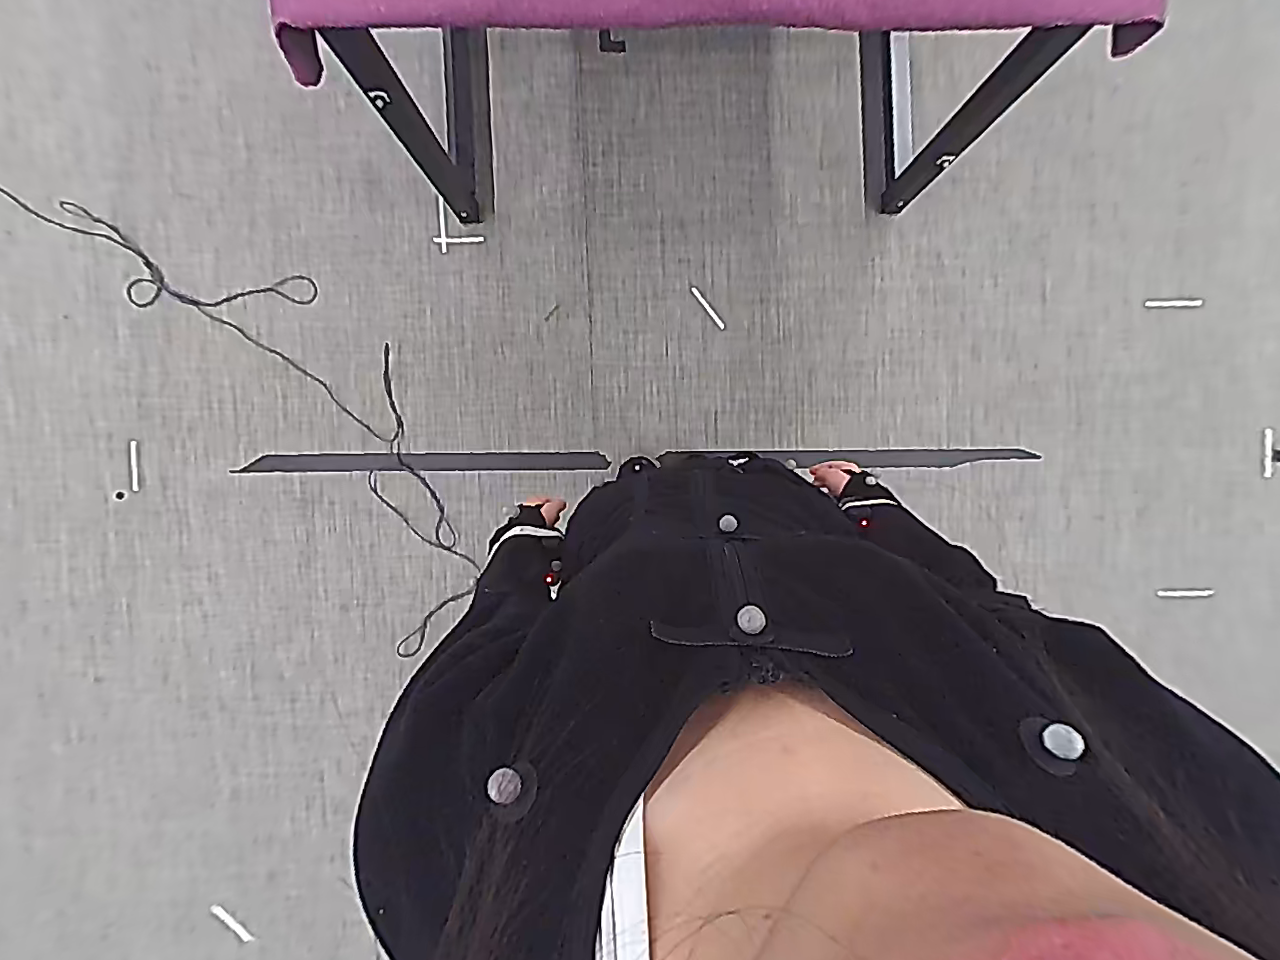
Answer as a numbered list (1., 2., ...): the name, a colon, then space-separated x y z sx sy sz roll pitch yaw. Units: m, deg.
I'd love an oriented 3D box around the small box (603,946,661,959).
1. small box: -0.011 1.401 1.431 0.168 0.176 0.179 -10 92 -1
